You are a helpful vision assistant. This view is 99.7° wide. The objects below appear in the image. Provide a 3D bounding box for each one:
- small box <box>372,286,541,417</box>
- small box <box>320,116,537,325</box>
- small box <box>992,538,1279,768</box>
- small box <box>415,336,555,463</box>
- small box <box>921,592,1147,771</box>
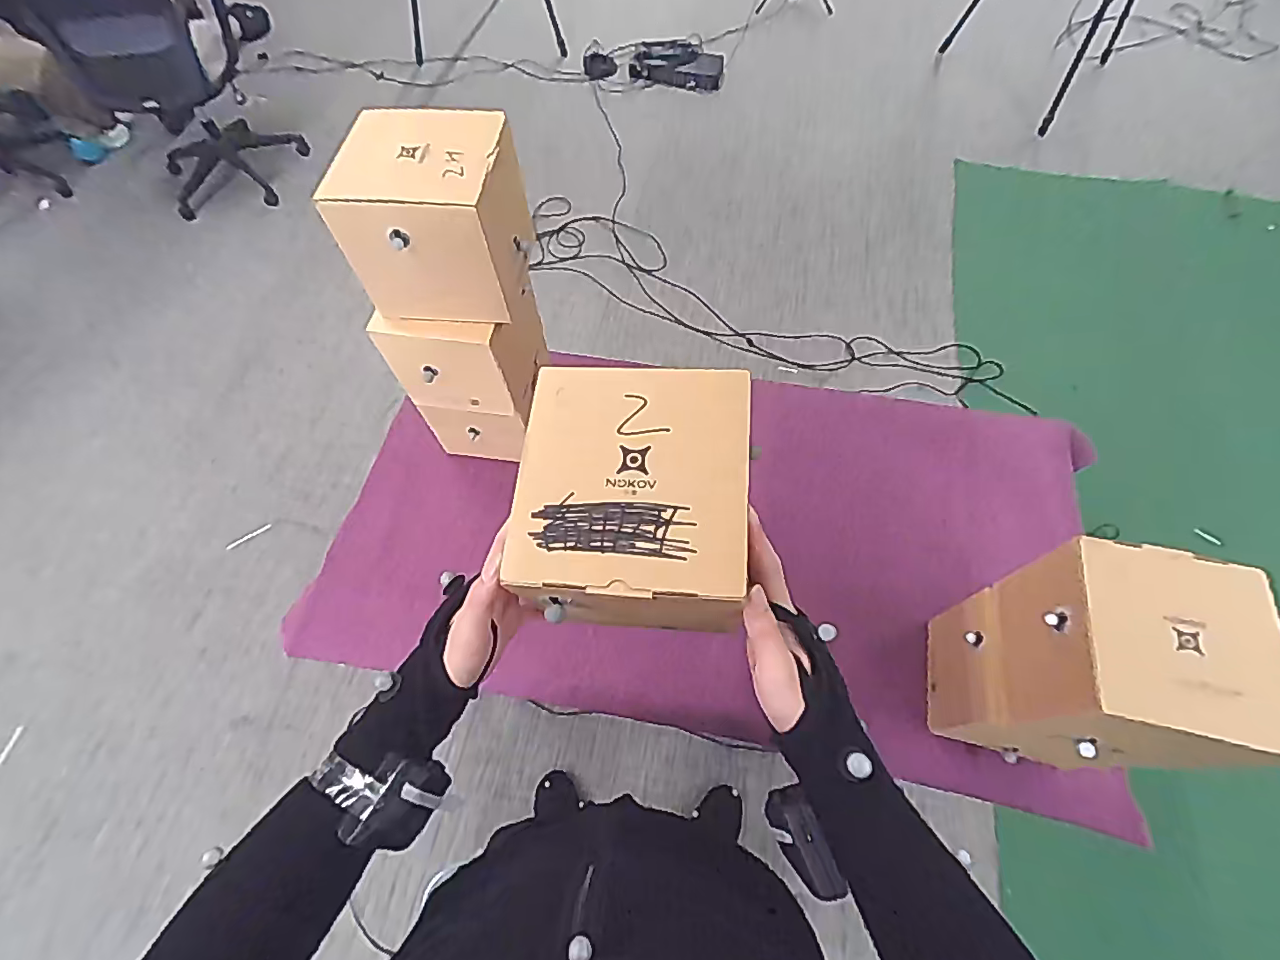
[{"bbox_3d":[-0.253,-0.213,0.797,0.168,0.176,0.179,7,62,5],"label":"small box"},{"bbox_3d":[-0.239,-0.310,0.663,0.179,0.176,0.168,4,62,3],"label":"small box"},{"bbox_3d":[0.501,0.187,0.572,0.168,0.176,0.179,12,63,10],"label":"small box"},{"bbox_3d":[-0.255,-0.143,0.943,0.179,0.176,0.168,6,63,5],"label":"small box"},{"bbox_3d":[0.501,0.269,0.713,0.179,0.176,0.168,13,62,8],"label":"small box"}]
